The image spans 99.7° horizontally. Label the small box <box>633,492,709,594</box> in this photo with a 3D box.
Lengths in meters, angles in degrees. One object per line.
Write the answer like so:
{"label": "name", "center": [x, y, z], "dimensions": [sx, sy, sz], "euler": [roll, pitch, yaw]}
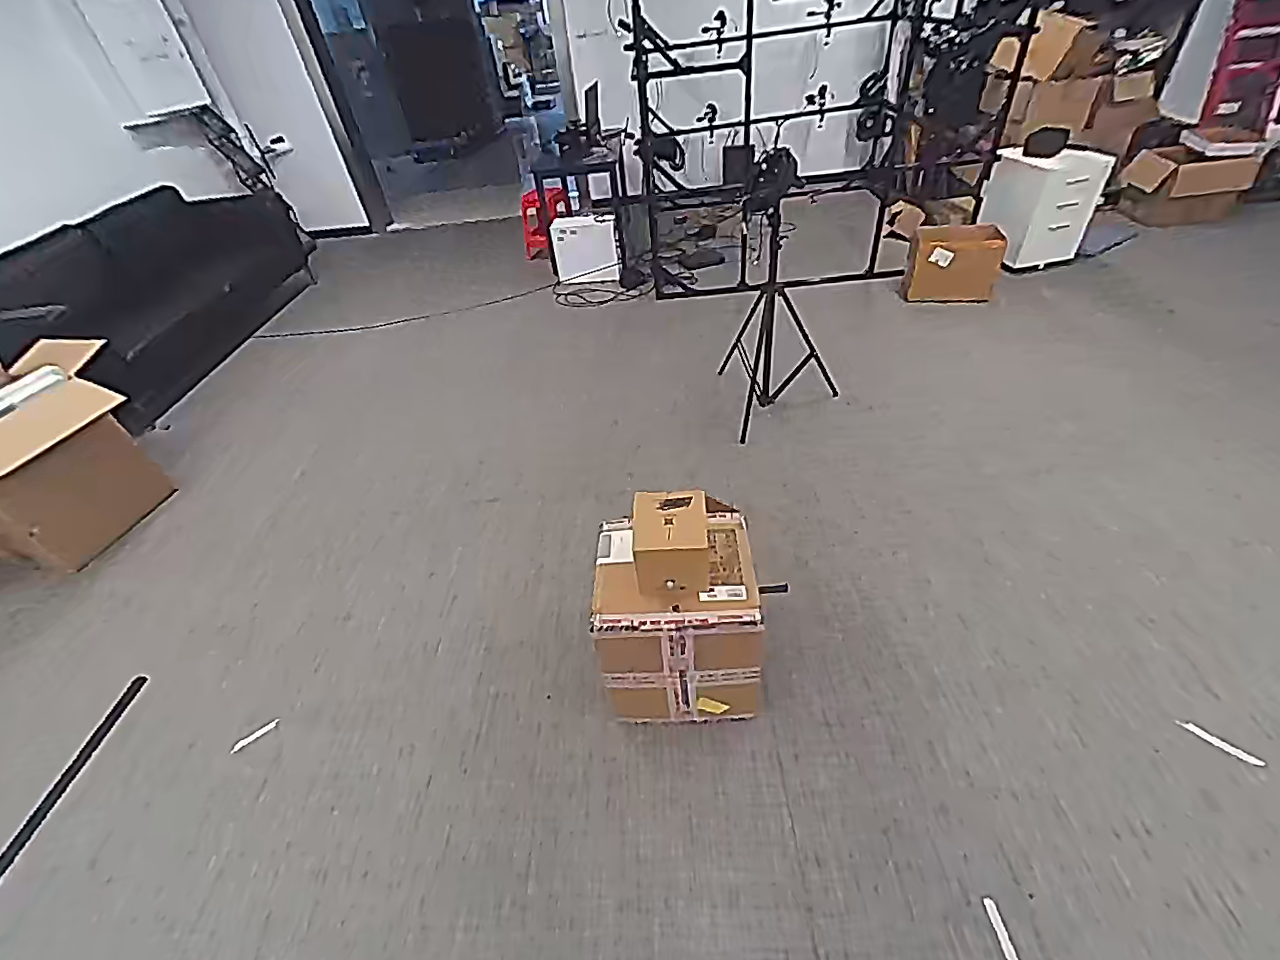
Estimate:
{"label": "small box", "center": [0.077, 0.149, 1.269], "dimensions": [0.168, 0.176, 0.179], "euler": [-3, 45, 6]}
